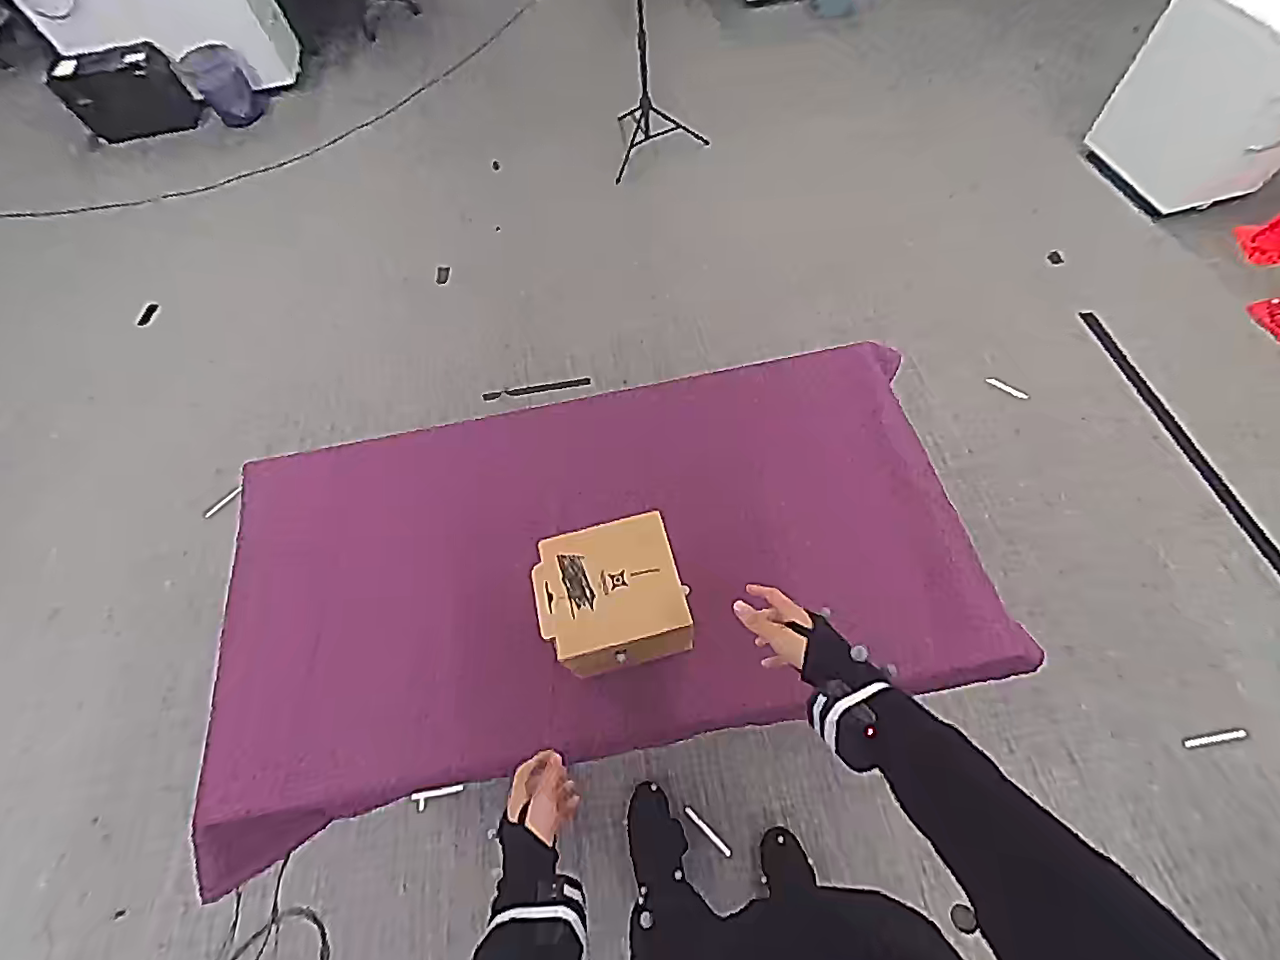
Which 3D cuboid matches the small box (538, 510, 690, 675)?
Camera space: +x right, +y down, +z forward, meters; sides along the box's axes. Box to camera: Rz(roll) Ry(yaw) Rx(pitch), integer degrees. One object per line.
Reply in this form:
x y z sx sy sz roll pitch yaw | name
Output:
-0.032 0.169 0.776 0.179 0.176 0.168 -15 62 -3 | small box
